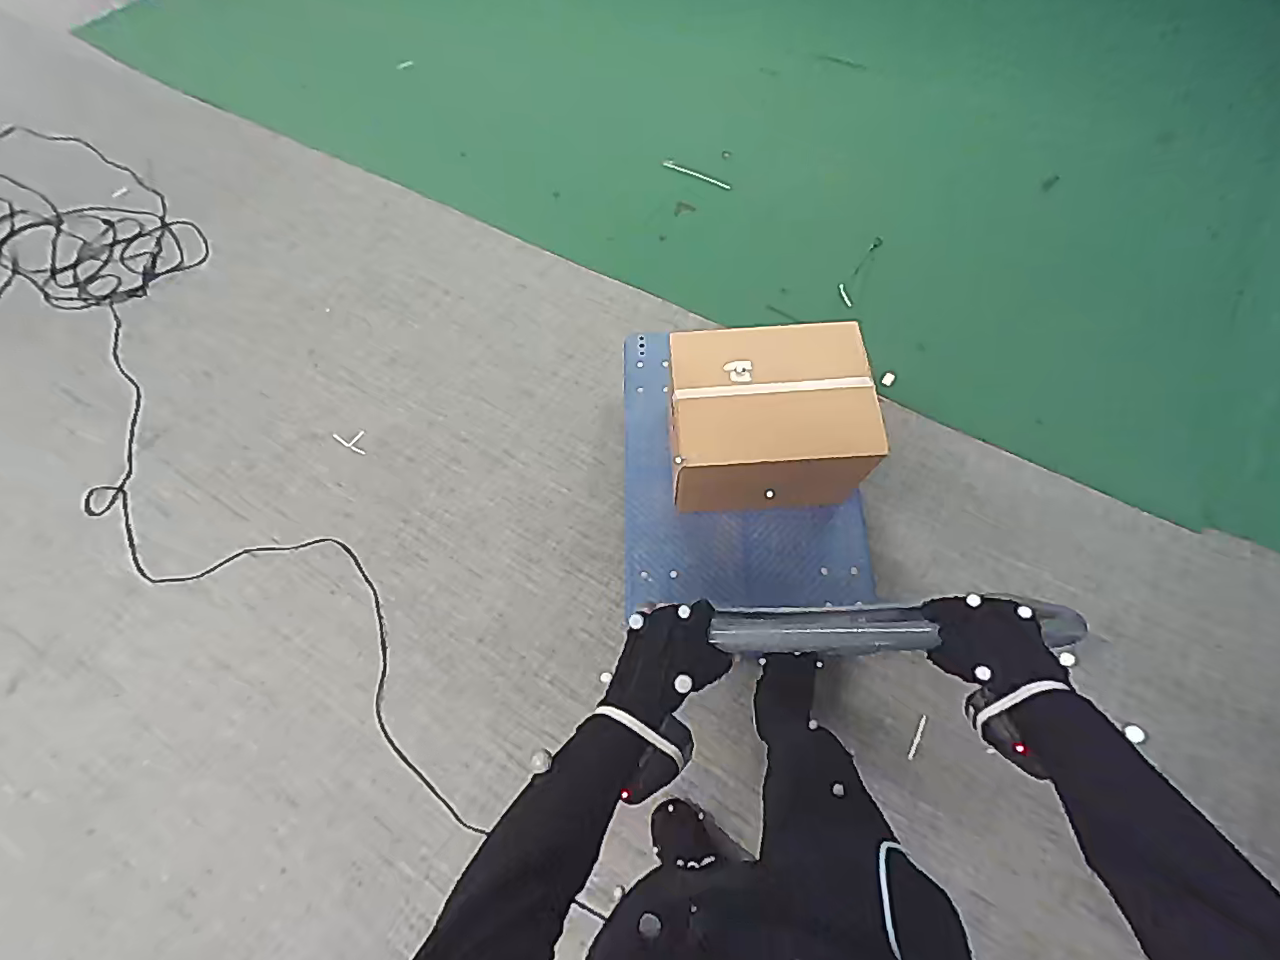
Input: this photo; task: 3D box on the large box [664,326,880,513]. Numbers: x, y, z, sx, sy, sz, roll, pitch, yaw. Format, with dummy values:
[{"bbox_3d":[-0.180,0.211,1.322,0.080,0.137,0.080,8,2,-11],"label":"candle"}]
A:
[{"bbox_3d":[0.268,-0.122,1.247,0.408,0.320,0.320,-4,69,0],"label":"large box"}]
